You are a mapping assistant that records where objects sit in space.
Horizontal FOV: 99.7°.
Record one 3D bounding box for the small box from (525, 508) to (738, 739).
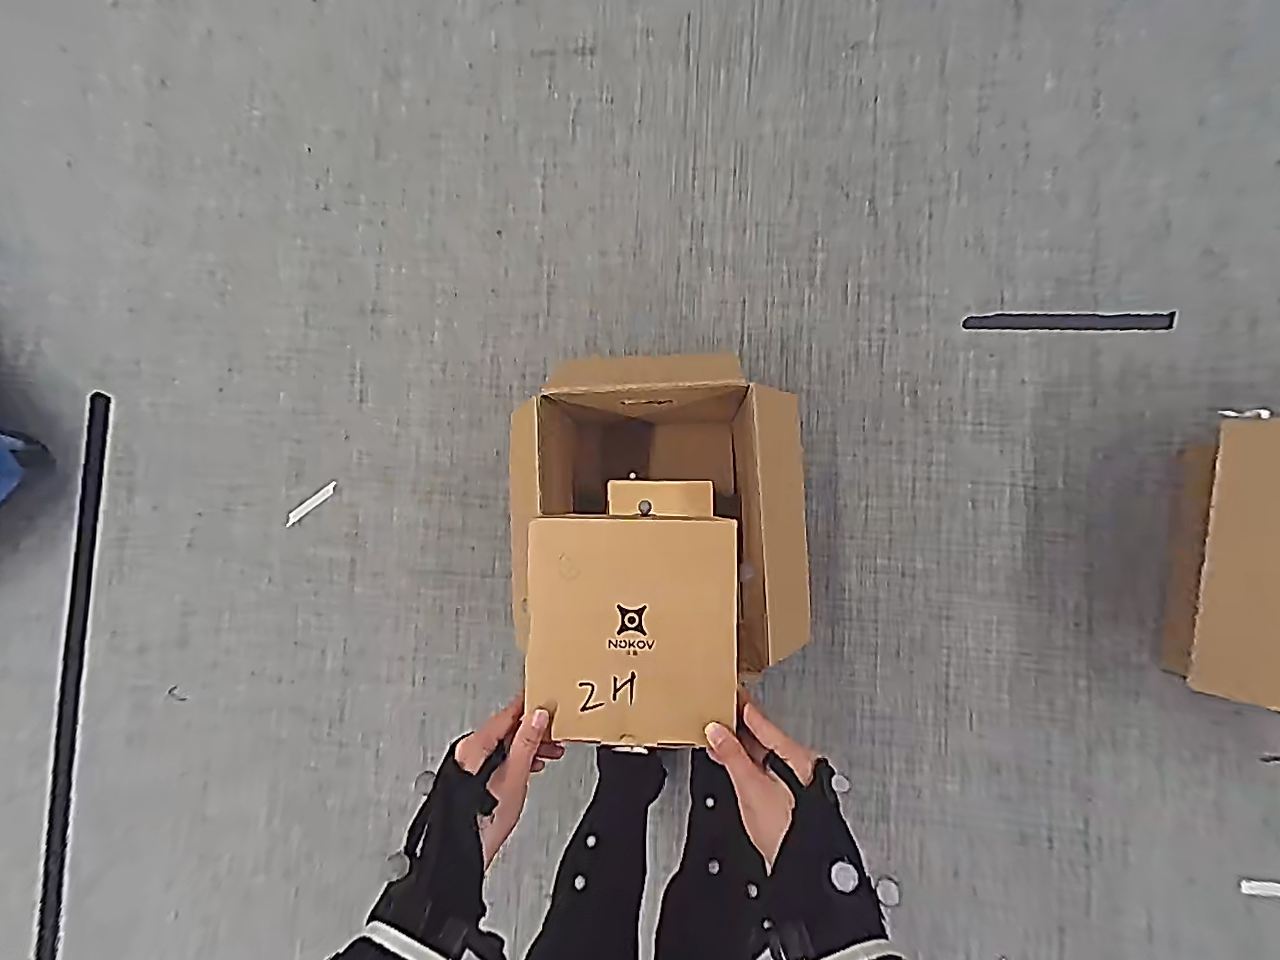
[{"bbox_3d":[-0.002,0.116,0.504,0.168,0.176,0.179,1,87,4],"label":"small box"}]
